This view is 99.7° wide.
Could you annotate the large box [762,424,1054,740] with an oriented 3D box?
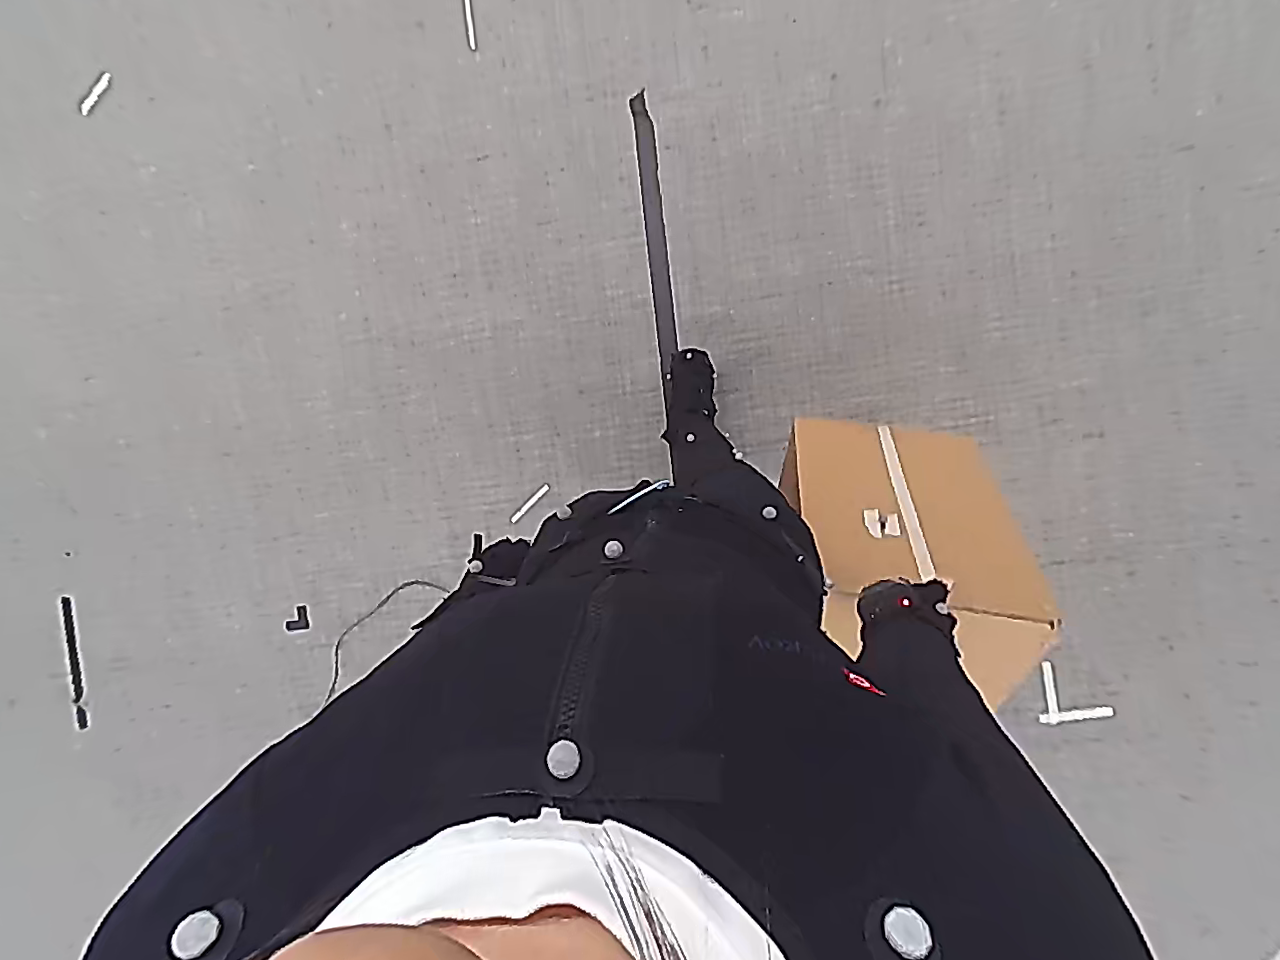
[{"bbox_3d":[0.389,0.155,0.923,0.320,0.408,0.320,7,131,8],"label":"large box"}]
